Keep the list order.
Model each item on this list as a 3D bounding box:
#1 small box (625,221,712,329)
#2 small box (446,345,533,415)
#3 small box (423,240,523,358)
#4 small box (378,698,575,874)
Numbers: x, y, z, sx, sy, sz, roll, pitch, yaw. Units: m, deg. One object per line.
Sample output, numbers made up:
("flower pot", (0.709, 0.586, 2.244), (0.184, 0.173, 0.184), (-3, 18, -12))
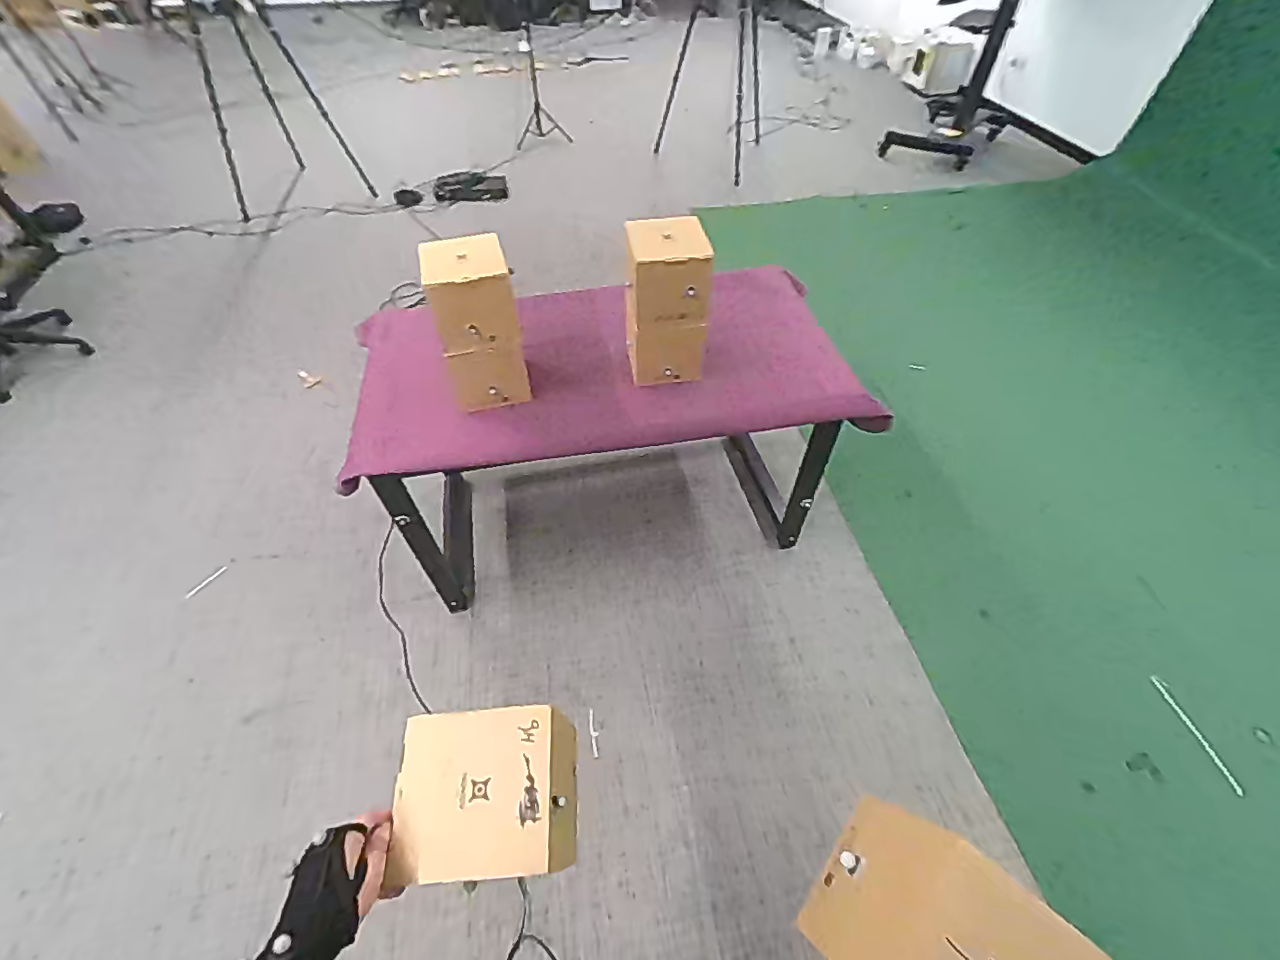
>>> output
("small box", (0.060, -0.454, 1.216), (0.168, 0.176, 0.179), (-7, 51, -5))
("small box", (-0.359, -0.283, 1.292), (0.168, 0.176, 0.179), (-12, 51, -9))
("small box", (-0.359, -0.390, 1.170), (0.168, 0.176, 0.179), (-14, 52, -11))
("small box", (-0.183, 0.376, 0.664), (0.179, 0.176, 0.168), (-6, 57, 2))
